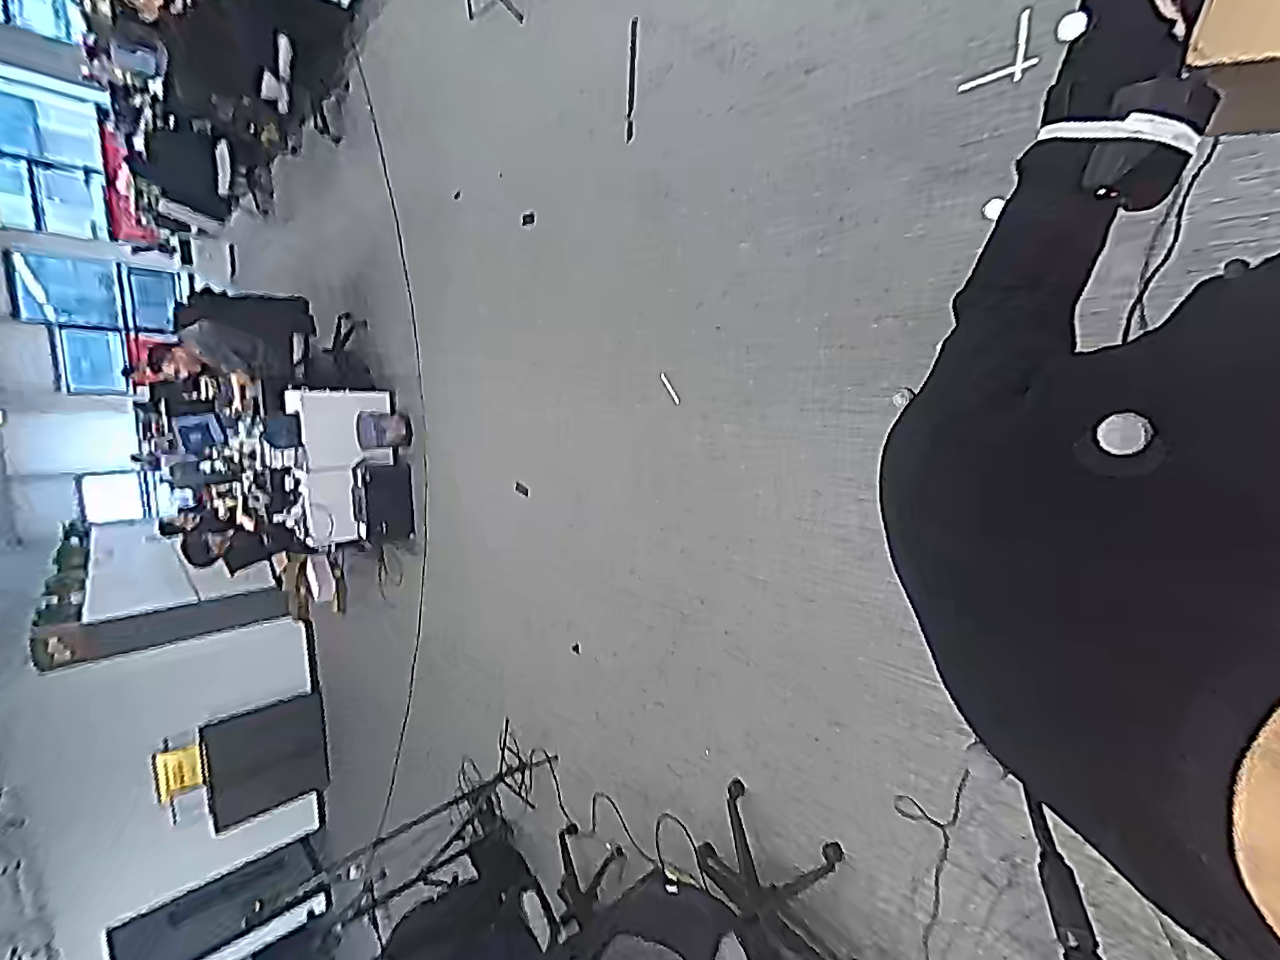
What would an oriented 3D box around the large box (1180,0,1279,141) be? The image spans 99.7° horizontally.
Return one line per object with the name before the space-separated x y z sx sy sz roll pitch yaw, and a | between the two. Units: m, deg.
large box | 0.599 -0.391 0.269 0.408 0.320 0.320 22 122 40
